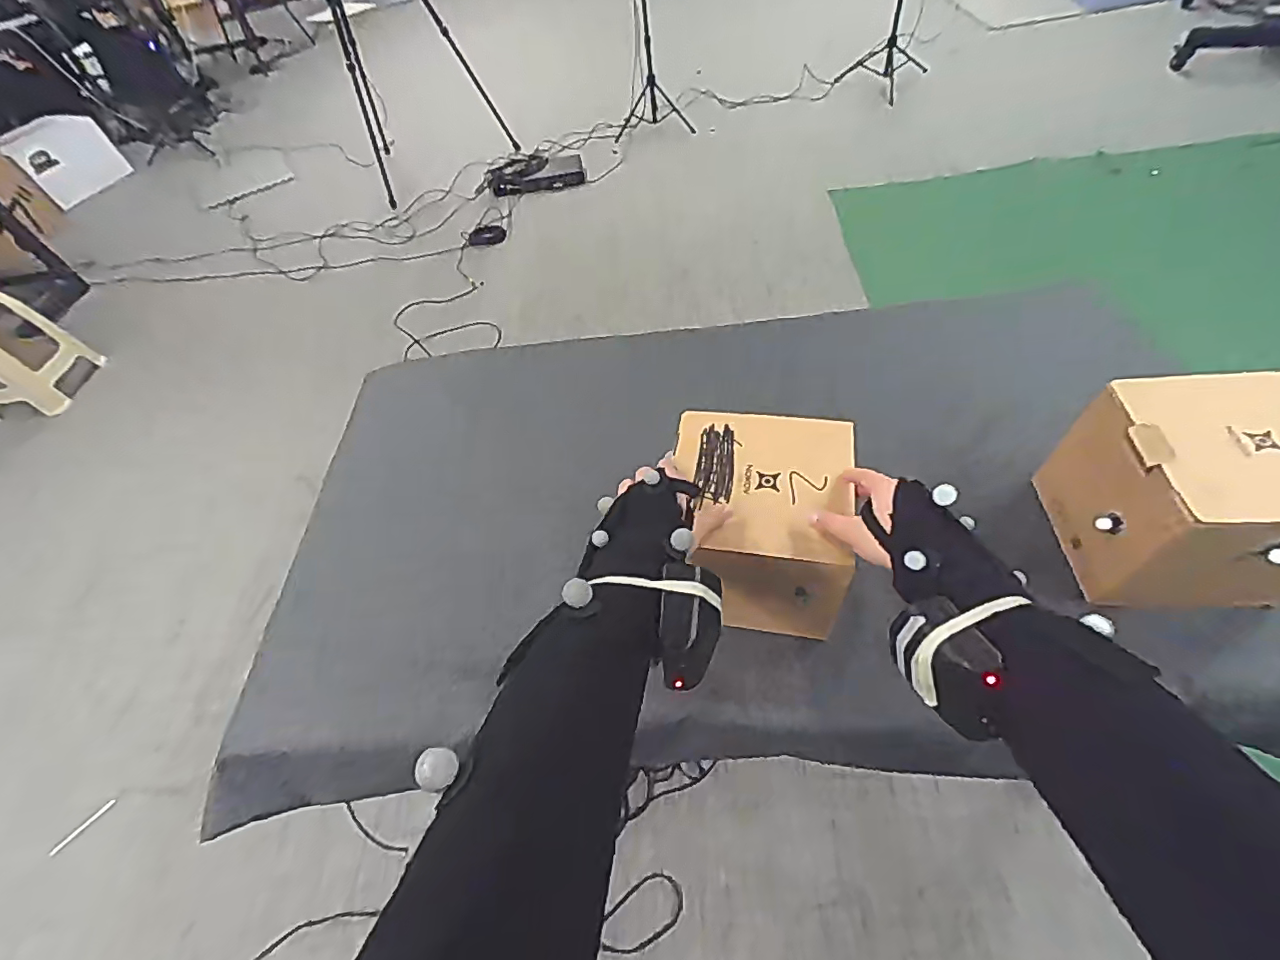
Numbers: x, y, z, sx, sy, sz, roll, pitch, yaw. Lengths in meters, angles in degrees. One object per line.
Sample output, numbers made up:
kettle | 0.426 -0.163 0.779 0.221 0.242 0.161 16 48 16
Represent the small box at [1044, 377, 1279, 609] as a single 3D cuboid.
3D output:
small box | 0.542 0.019 0.533 0.179 0.176 0.168 -1 54 8
